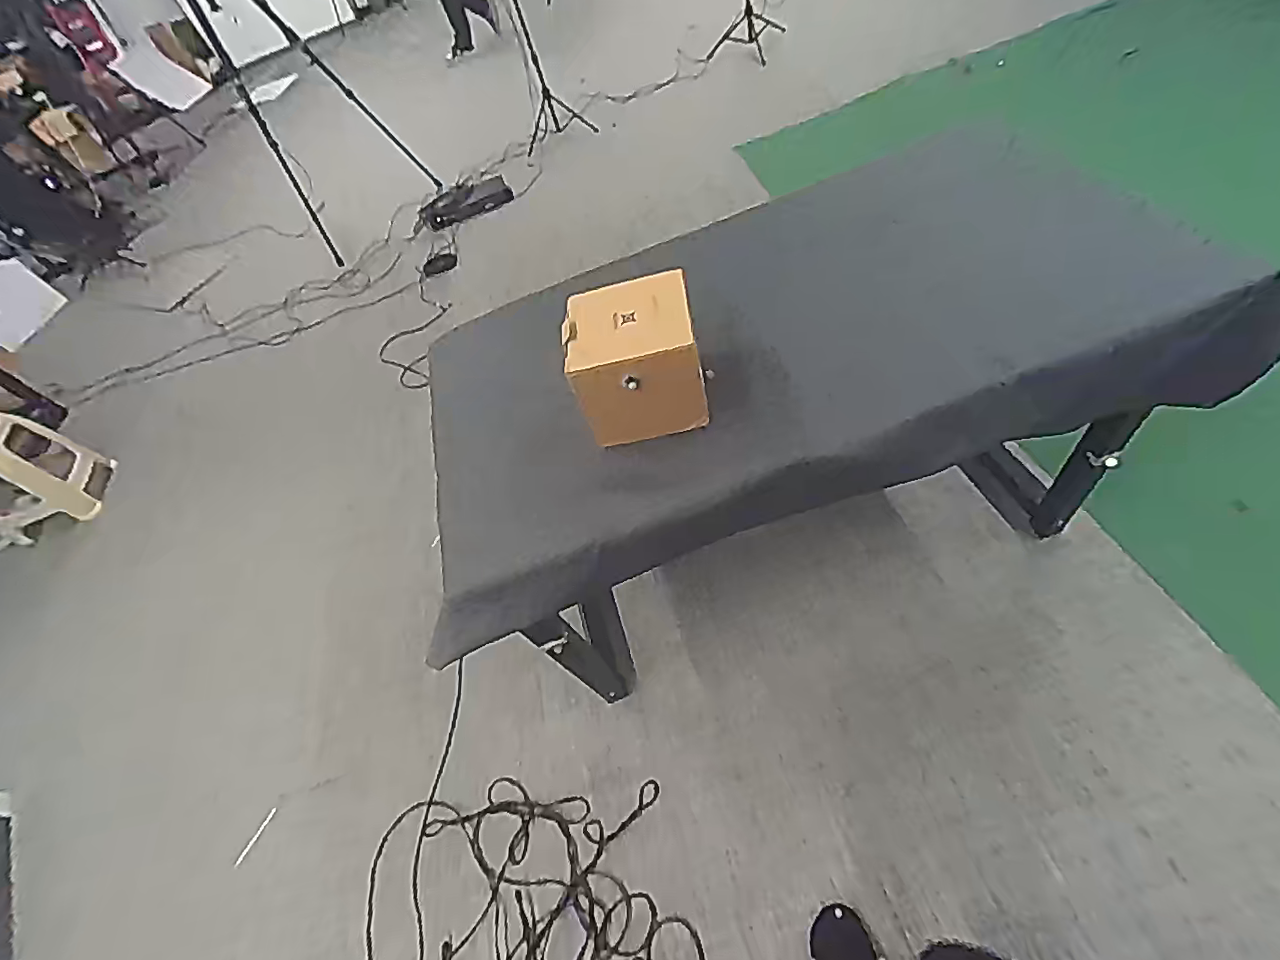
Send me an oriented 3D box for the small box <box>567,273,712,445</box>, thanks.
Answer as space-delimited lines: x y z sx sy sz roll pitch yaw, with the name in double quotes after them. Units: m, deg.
0.002 -0.172 0.808 0.179 0.176 0.168 -11 54 9 "small box"
